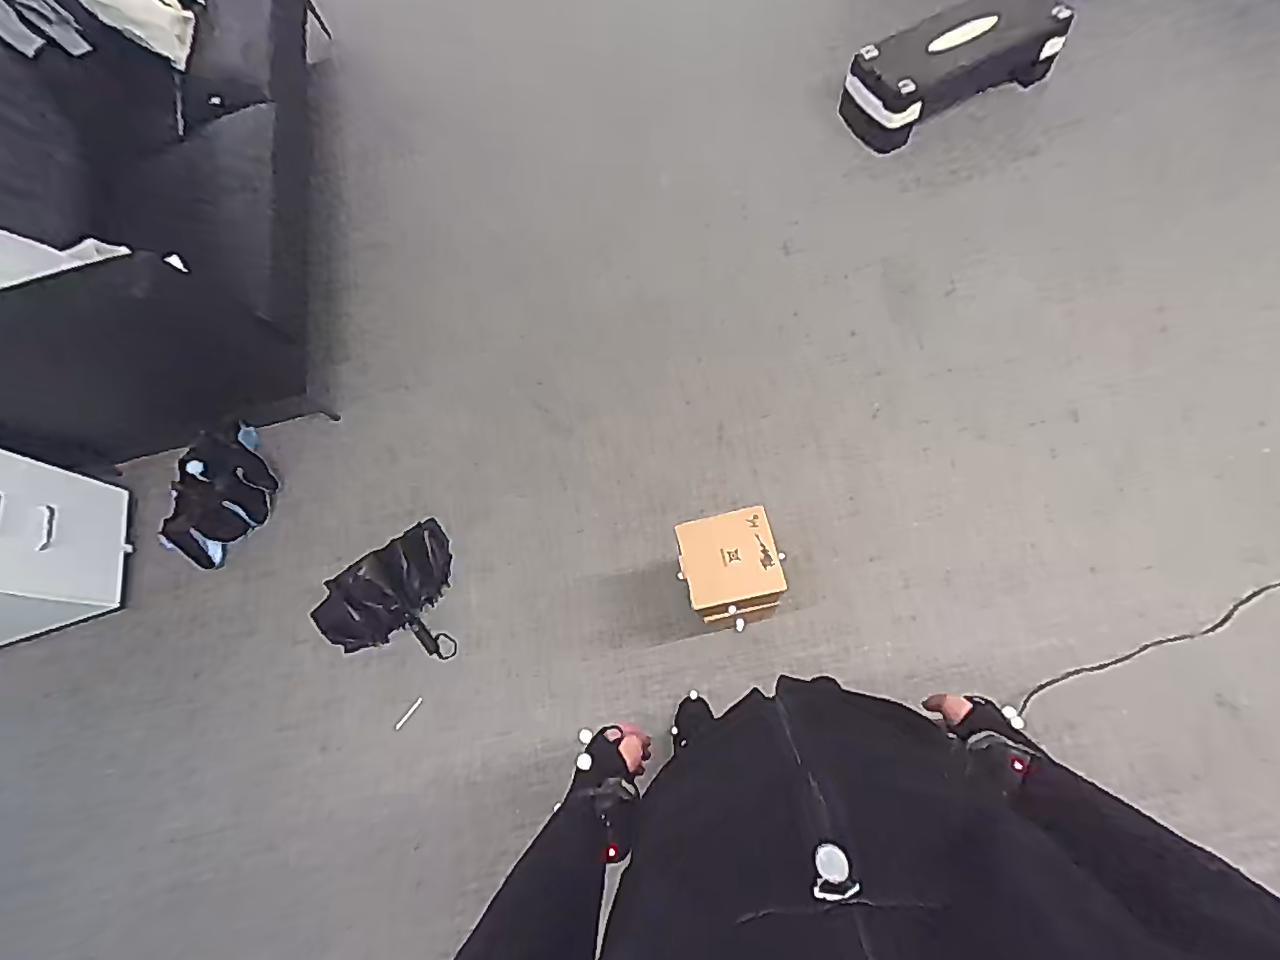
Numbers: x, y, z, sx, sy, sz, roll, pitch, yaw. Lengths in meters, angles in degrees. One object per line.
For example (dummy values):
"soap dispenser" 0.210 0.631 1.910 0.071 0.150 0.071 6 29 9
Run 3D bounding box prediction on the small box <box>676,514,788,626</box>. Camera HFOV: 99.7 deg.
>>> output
"small box" 0.182 0.185 1.070 0.179 0.176 0.168 -14 68 5

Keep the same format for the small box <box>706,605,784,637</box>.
"small box" 0.213 0.244 1.220 0.168 0.176 0.179 -16 68 4
